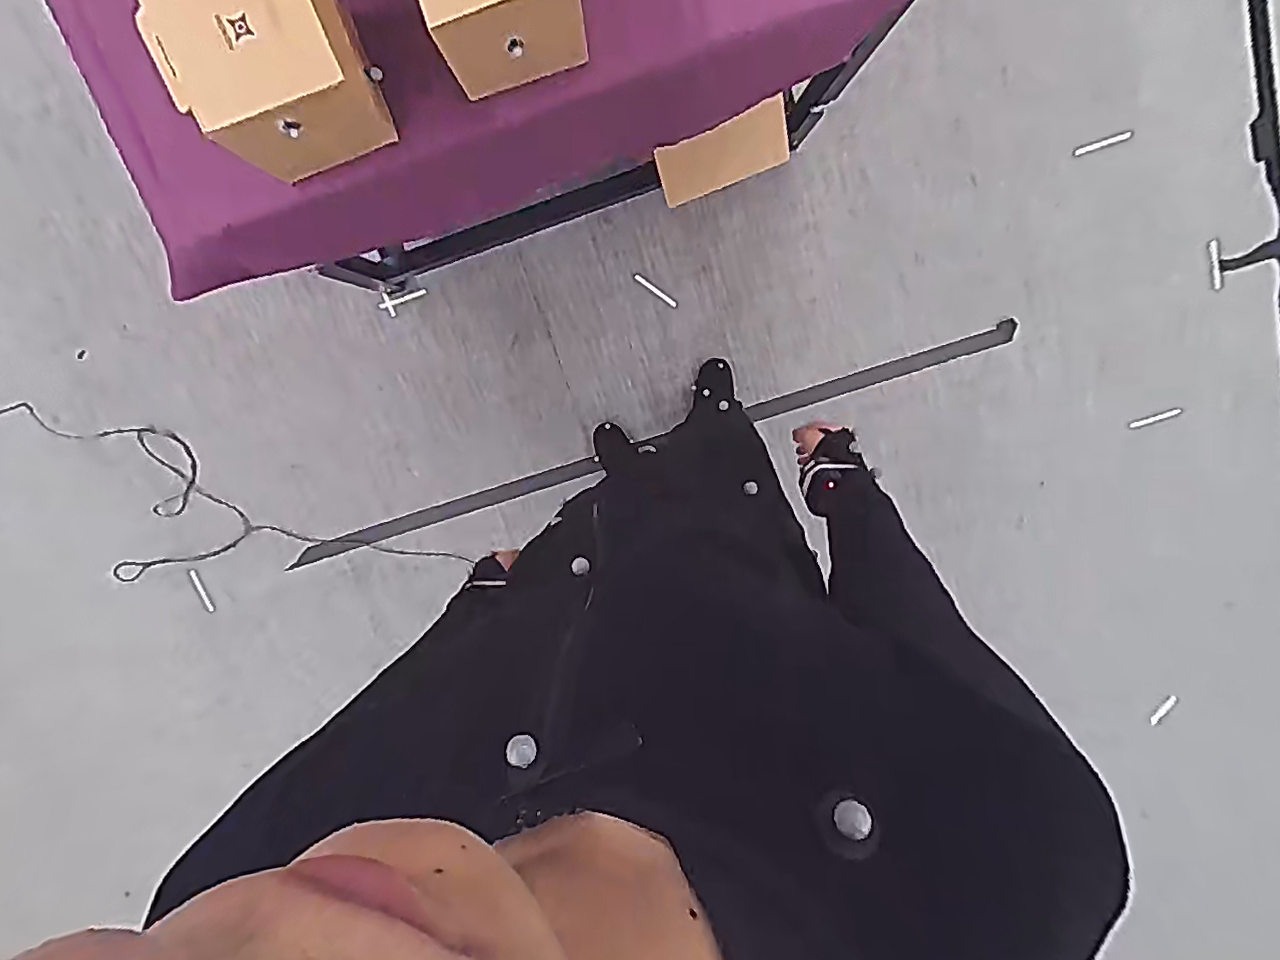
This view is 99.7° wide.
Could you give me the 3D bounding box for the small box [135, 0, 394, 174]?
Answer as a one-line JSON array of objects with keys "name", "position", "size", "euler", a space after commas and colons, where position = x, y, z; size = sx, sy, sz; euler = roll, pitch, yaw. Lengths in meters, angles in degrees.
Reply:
[{"name": "small box", "position": [-0.441, -0.507, 0.661], "size": [0.179, 0.176, 0.168], "euler": [-20, 103, 2]}]
